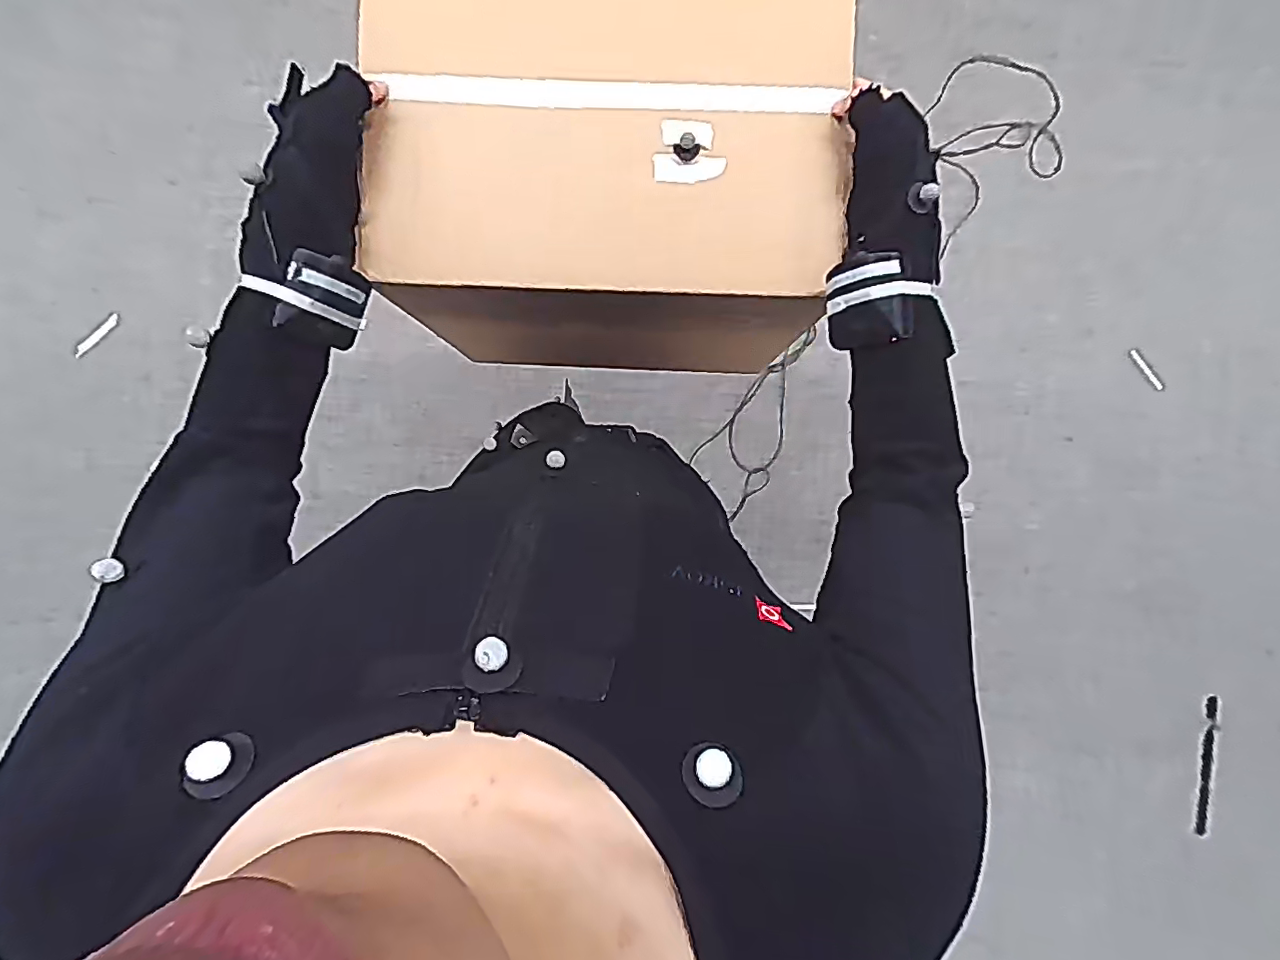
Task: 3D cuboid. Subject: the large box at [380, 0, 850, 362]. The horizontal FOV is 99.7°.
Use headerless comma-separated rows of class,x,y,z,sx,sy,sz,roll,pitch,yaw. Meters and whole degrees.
large box,-0.023,-0.322,0.609,0.408,0.320,0.320,2,90,-1
